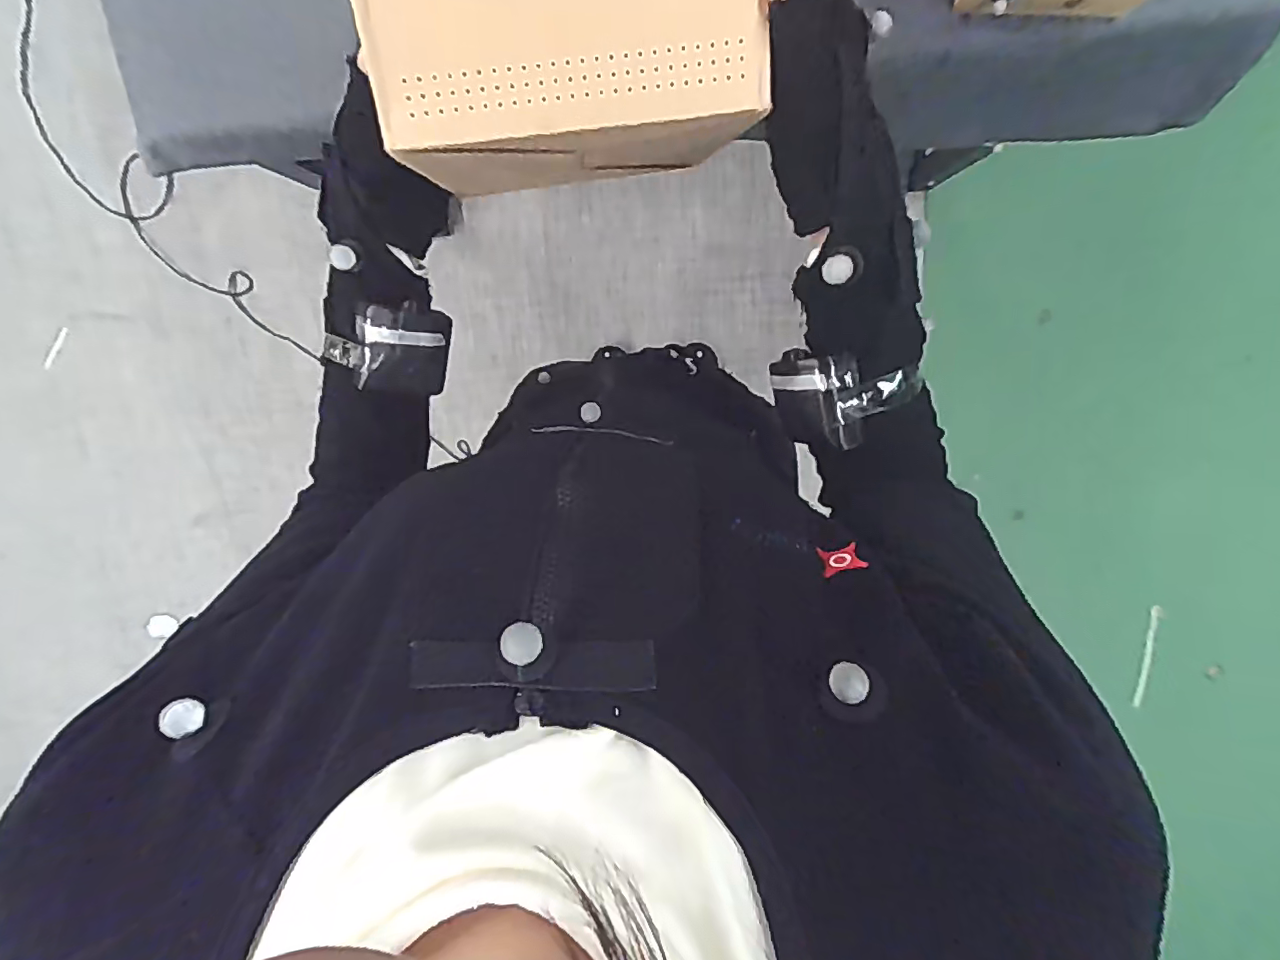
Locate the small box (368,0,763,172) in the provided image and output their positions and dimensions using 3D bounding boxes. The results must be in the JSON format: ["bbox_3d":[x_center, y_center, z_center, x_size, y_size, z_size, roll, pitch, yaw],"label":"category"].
[{"bbox_3d":[-0.044,-0.272,0.287,0.179,0.168,0.176,-9,114,-4],"label":"small box"}]

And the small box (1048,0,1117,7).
[{"bbox_3d":[0.397,-0.540,0.447,0.168,0.176,0.179,4,104,2],"label":"small box"}]
